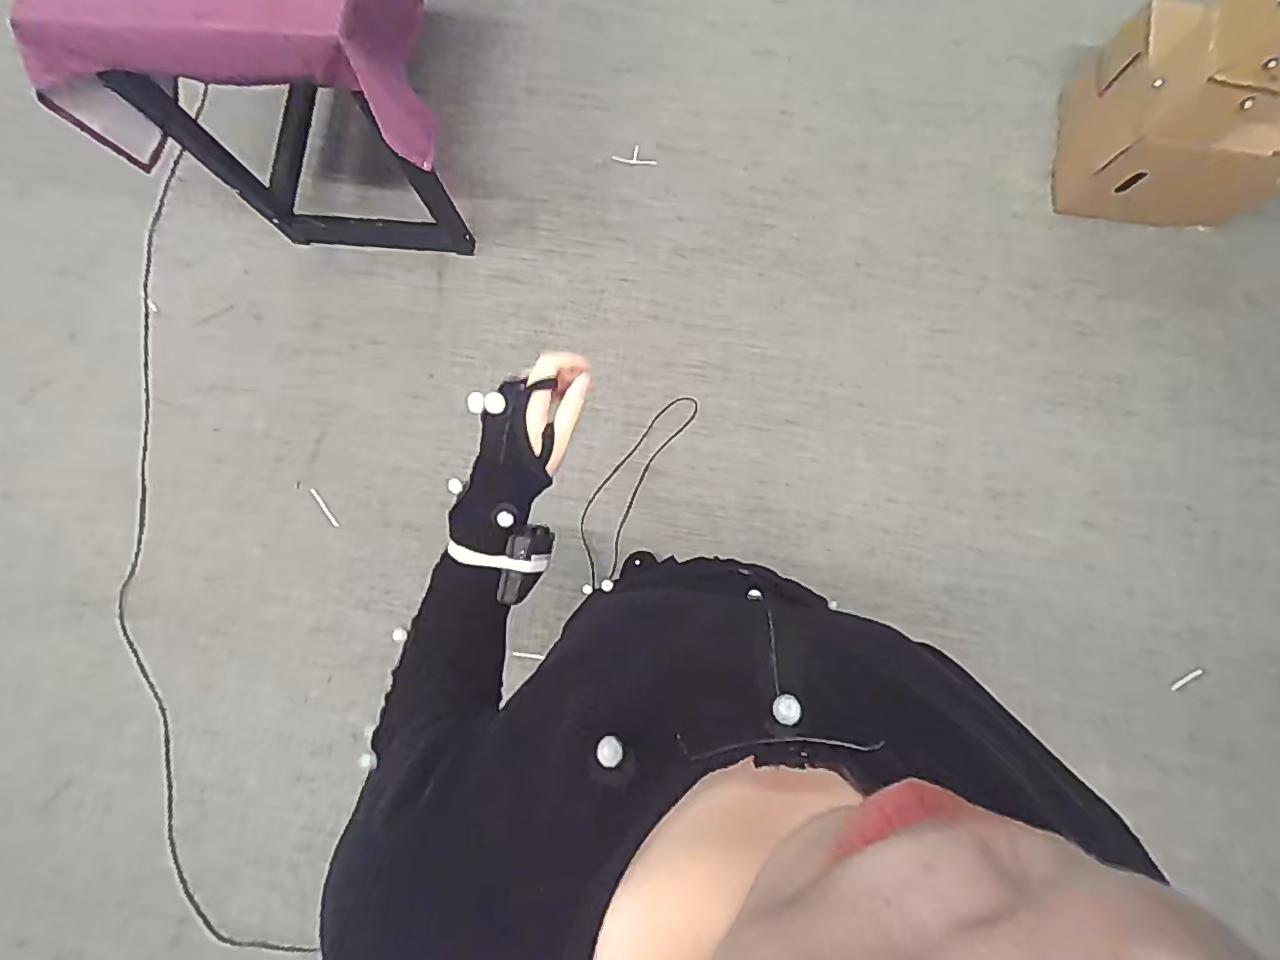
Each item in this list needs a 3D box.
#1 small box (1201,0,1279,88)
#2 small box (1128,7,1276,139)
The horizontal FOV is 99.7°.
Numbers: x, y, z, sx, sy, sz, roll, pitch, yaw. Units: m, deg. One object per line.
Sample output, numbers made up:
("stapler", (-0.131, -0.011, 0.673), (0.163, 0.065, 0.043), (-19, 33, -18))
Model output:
("small box", (1.297, -0.948, 1.089), (0.168, 0.176, 0.179), (11, 84, 2))
("small box", (1.297, -0.930, 1.251), (0.179, 0.176, 0.168), (10, 83, 2))
